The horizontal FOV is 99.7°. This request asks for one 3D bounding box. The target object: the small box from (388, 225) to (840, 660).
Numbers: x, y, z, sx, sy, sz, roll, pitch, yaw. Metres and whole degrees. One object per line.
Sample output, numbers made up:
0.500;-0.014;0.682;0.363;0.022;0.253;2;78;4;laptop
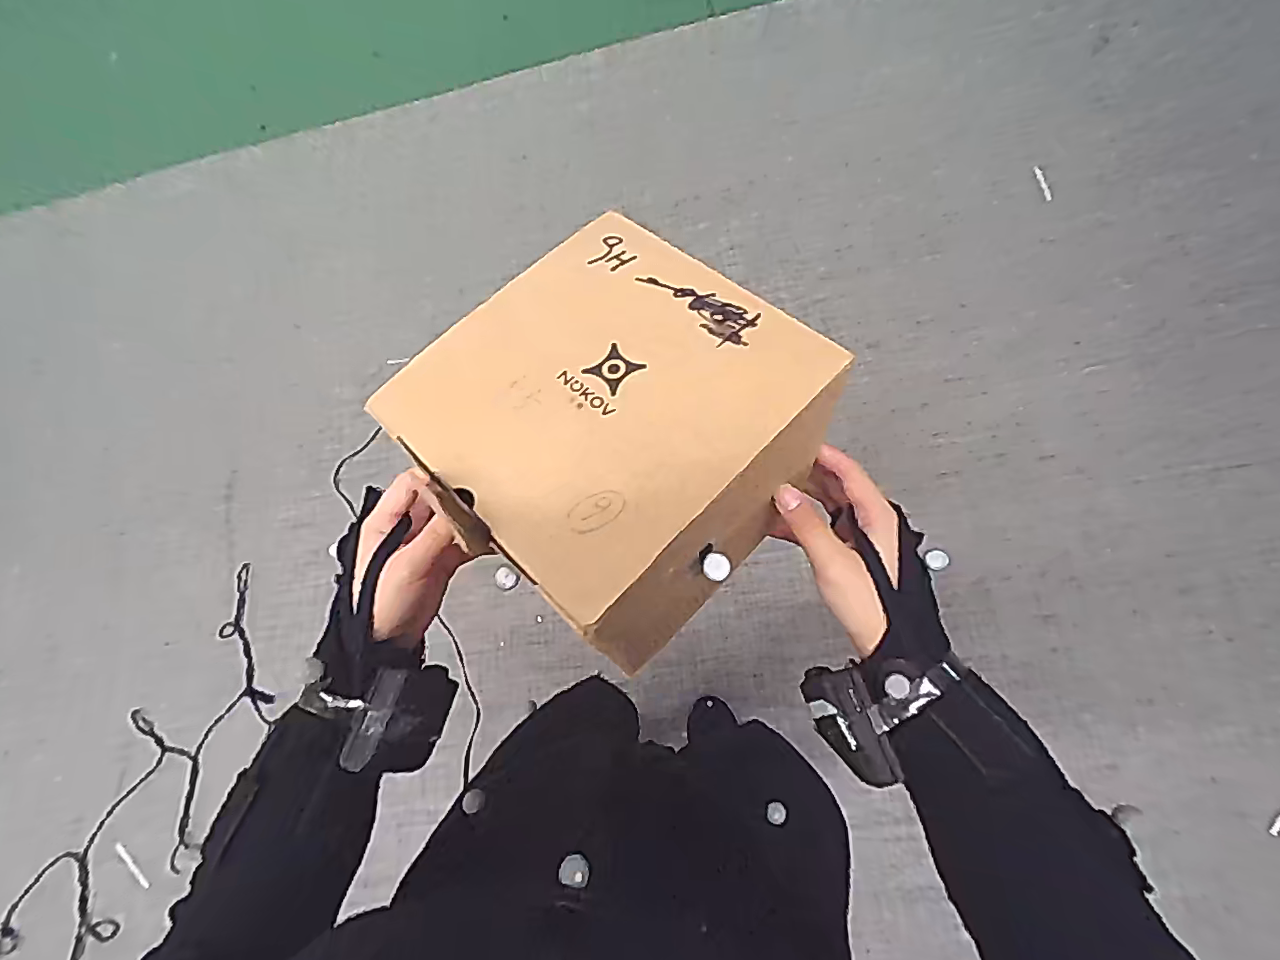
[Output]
-0.007;-0.010;0.342;0.168;0.176;0.179;40;76;22;small box
